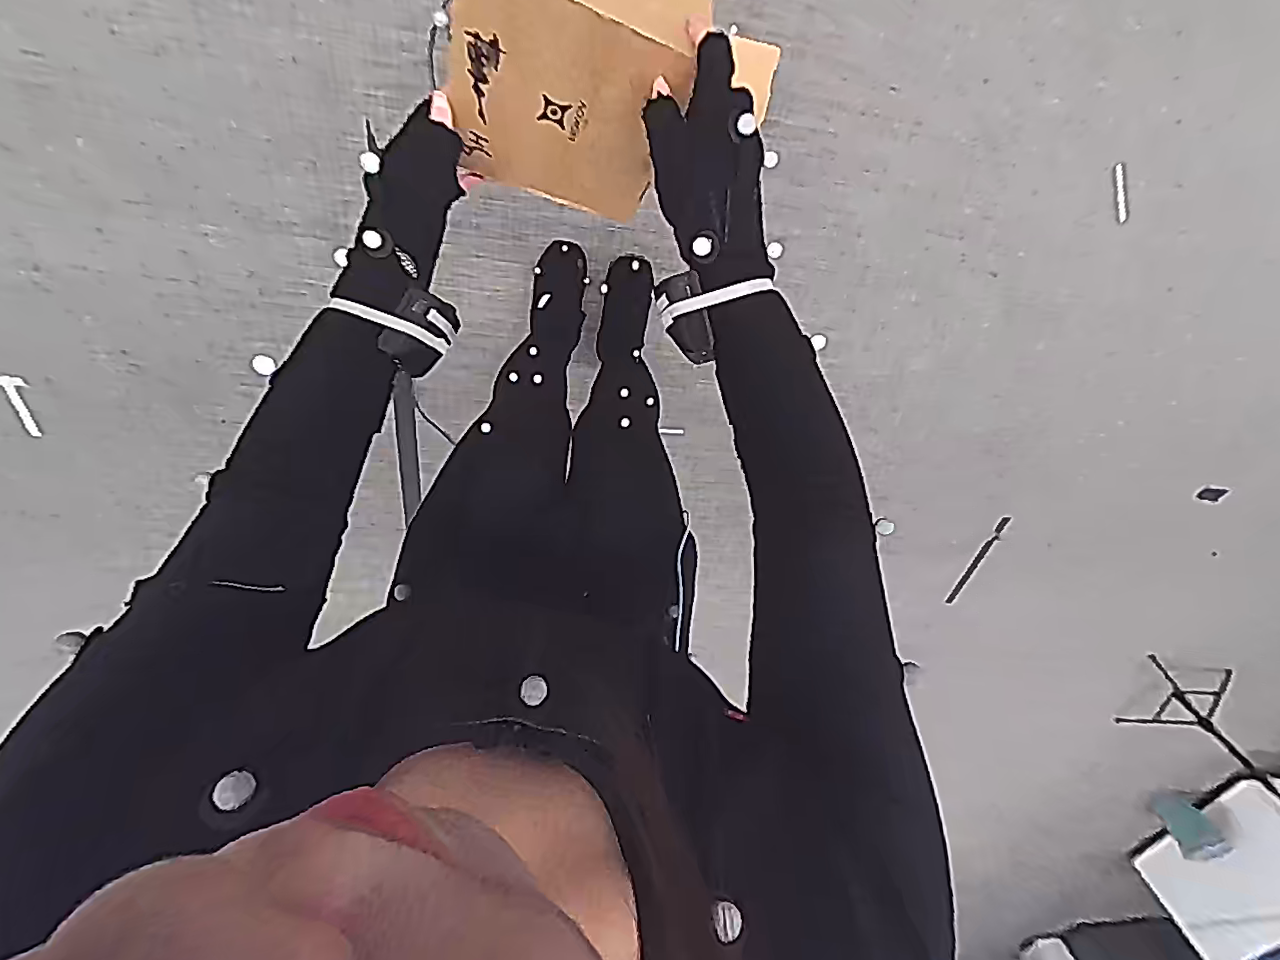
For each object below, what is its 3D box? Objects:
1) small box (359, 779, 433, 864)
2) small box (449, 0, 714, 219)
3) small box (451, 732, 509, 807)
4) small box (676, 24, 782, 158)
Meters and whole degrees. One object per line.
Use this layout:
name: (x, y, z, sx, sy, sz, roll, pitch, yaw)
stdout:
small box: (-0.738, 1.045, 1.653, 0.168, 0.176, 0.179, 6, 123, -10)
small box: (-0.053, -0.367, 0.456, 0.179, 0.176, 0.168, 9, 160, -22)
small box: (-0.537, 0.975, 1.827, 0.168, 0.176, 0.179, 4, 124, -8)
small box: (0.129, -0.702, 0.986, 0.179, 0.176, 0.168, 6, 123, -11)
